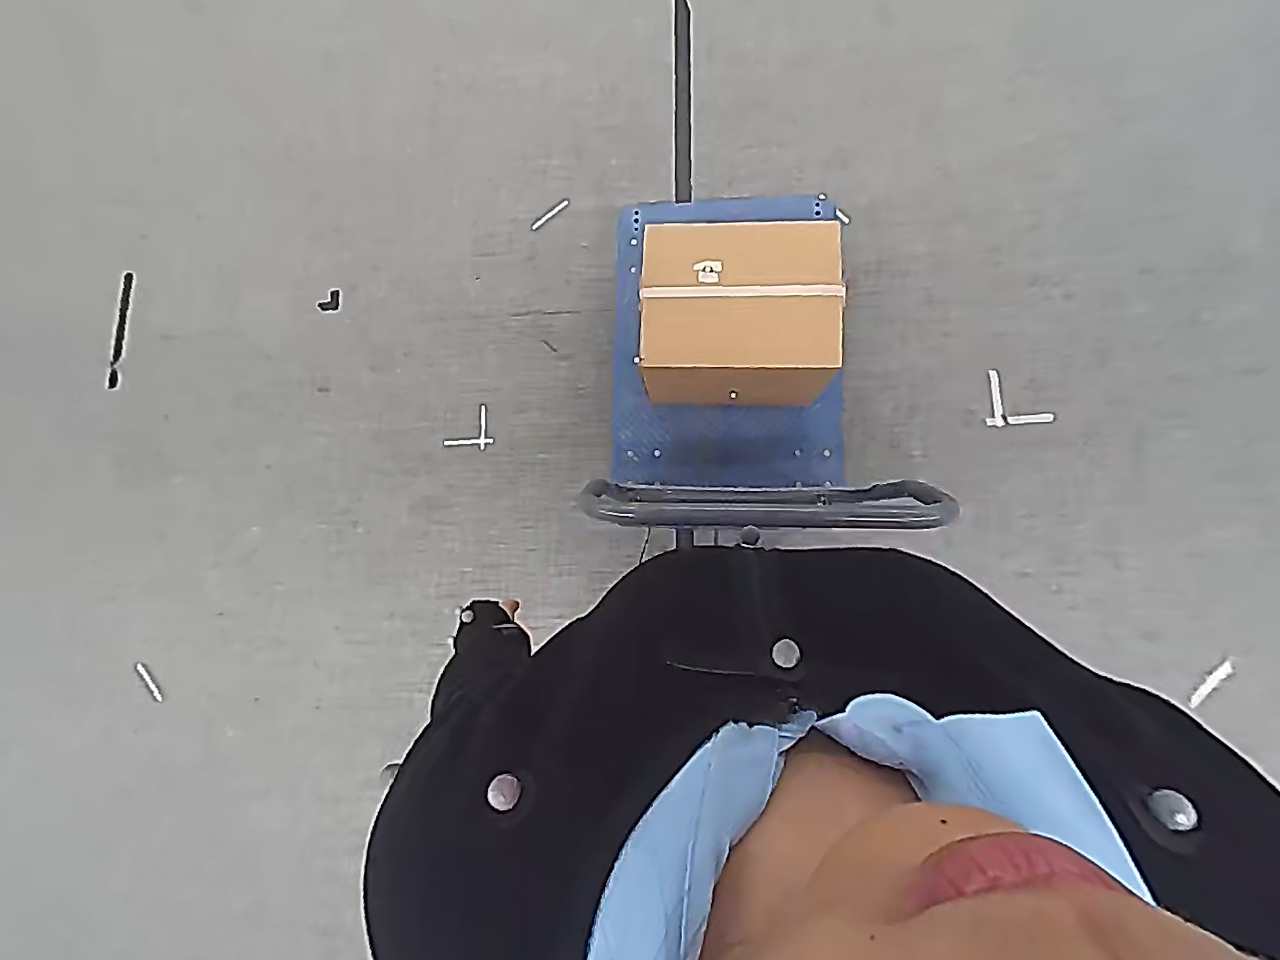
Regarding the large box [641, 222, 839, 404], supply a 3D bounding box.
[{"bbox_3d":[0.221,-0.362,1.261,0.408,0.320,0.320,1,82,7],"label":"large box"}]
